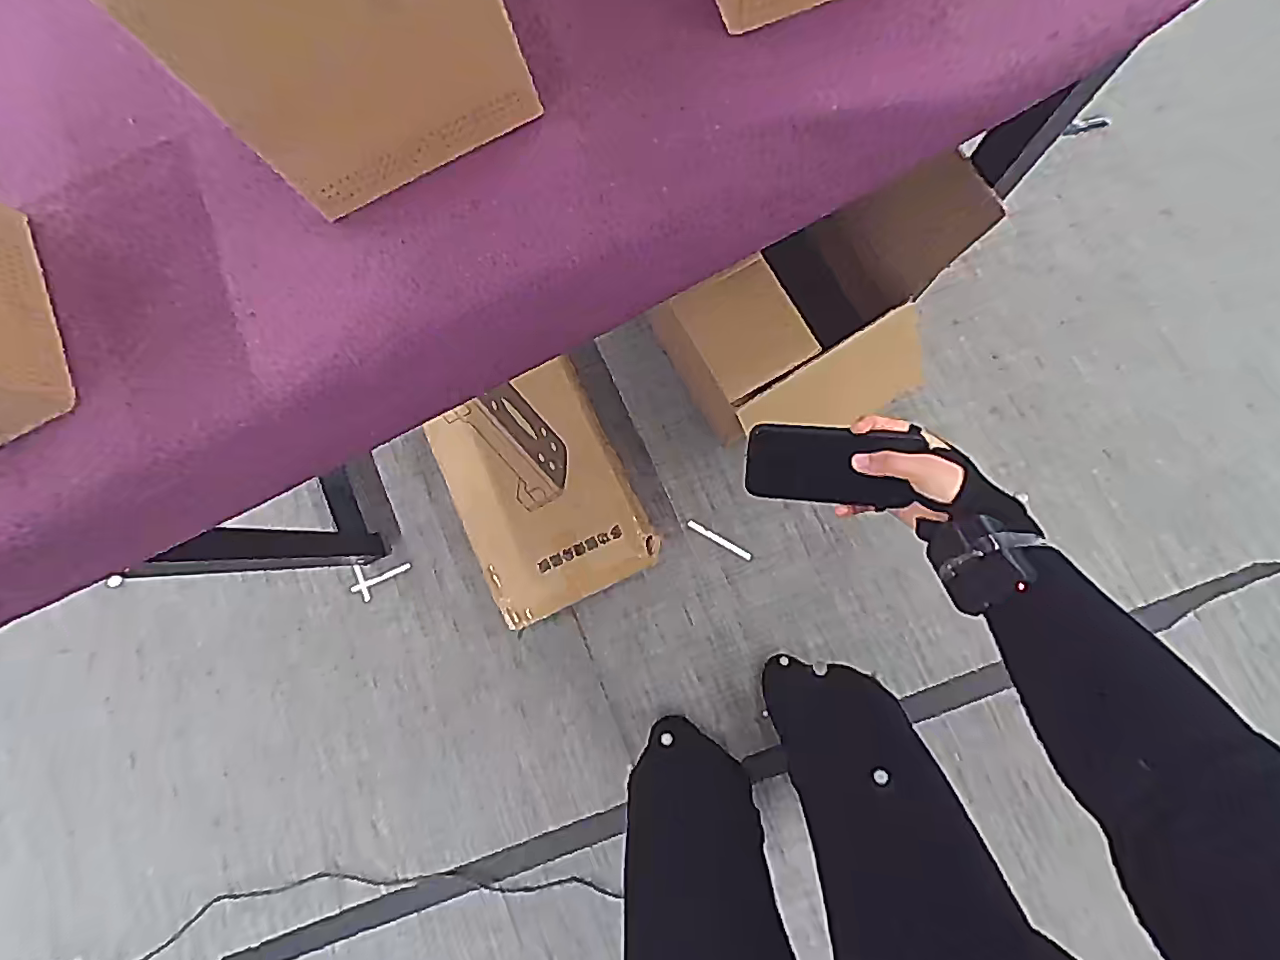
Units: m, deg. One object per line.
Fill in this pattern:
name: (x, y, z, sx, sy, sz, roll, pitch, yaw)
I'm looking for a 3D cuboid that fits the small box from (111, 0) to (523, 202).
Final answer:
small box: (-0.186, -0.313, 0.320, 0.179, 0.176, 0.168, -26, 79, 2)
